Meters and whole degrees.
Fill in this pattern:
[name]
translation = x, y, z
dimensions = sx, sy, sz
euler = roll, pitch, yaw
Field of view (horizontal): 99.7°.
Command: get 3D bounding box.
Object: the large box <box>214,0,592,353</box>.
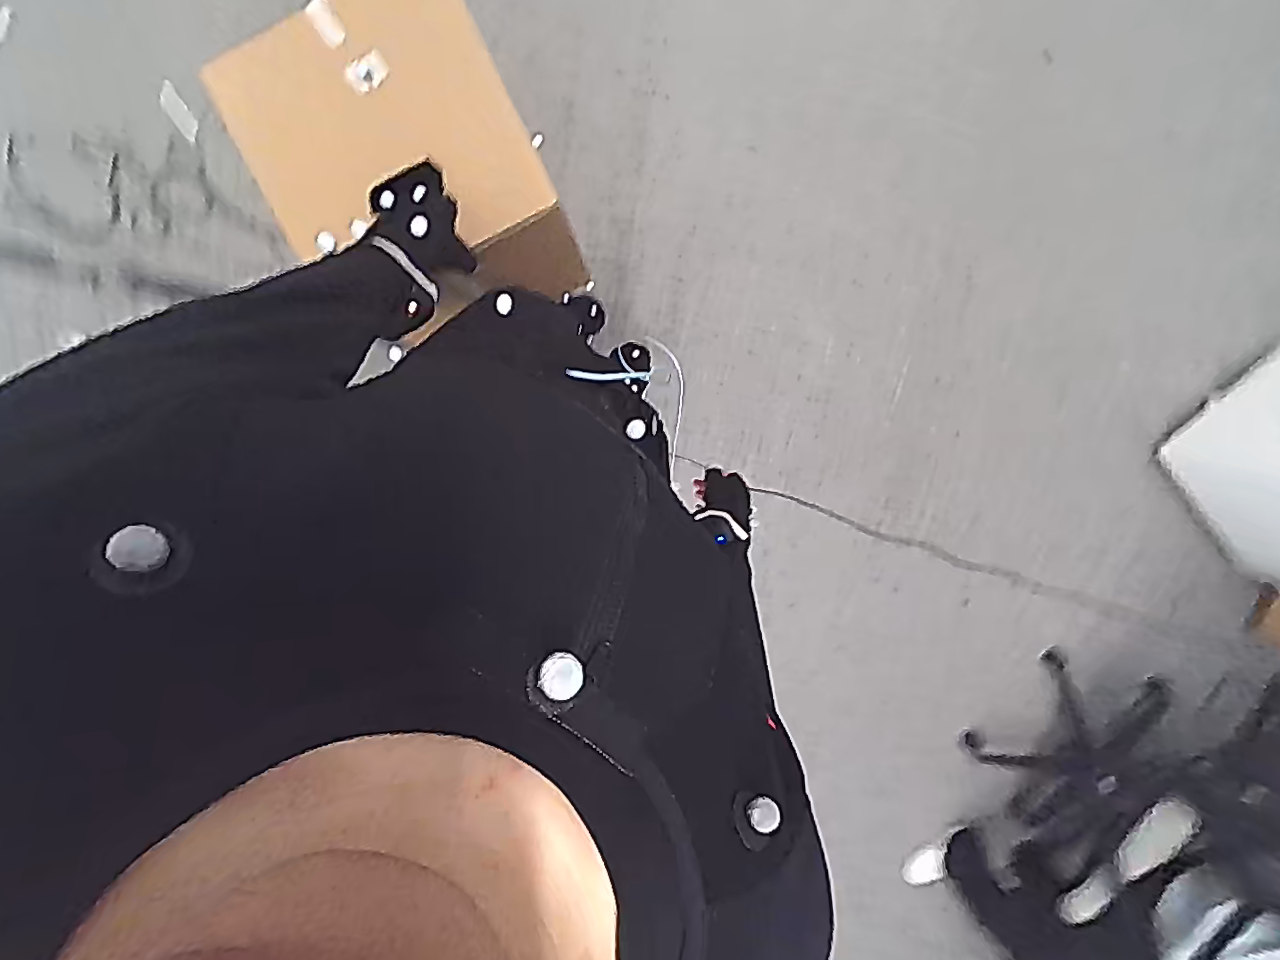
[large box]
translation = -0.302, -0.417, 0.832
dimensions = 0.320, 0.408, 0.320
euler = -26, 97, 5
